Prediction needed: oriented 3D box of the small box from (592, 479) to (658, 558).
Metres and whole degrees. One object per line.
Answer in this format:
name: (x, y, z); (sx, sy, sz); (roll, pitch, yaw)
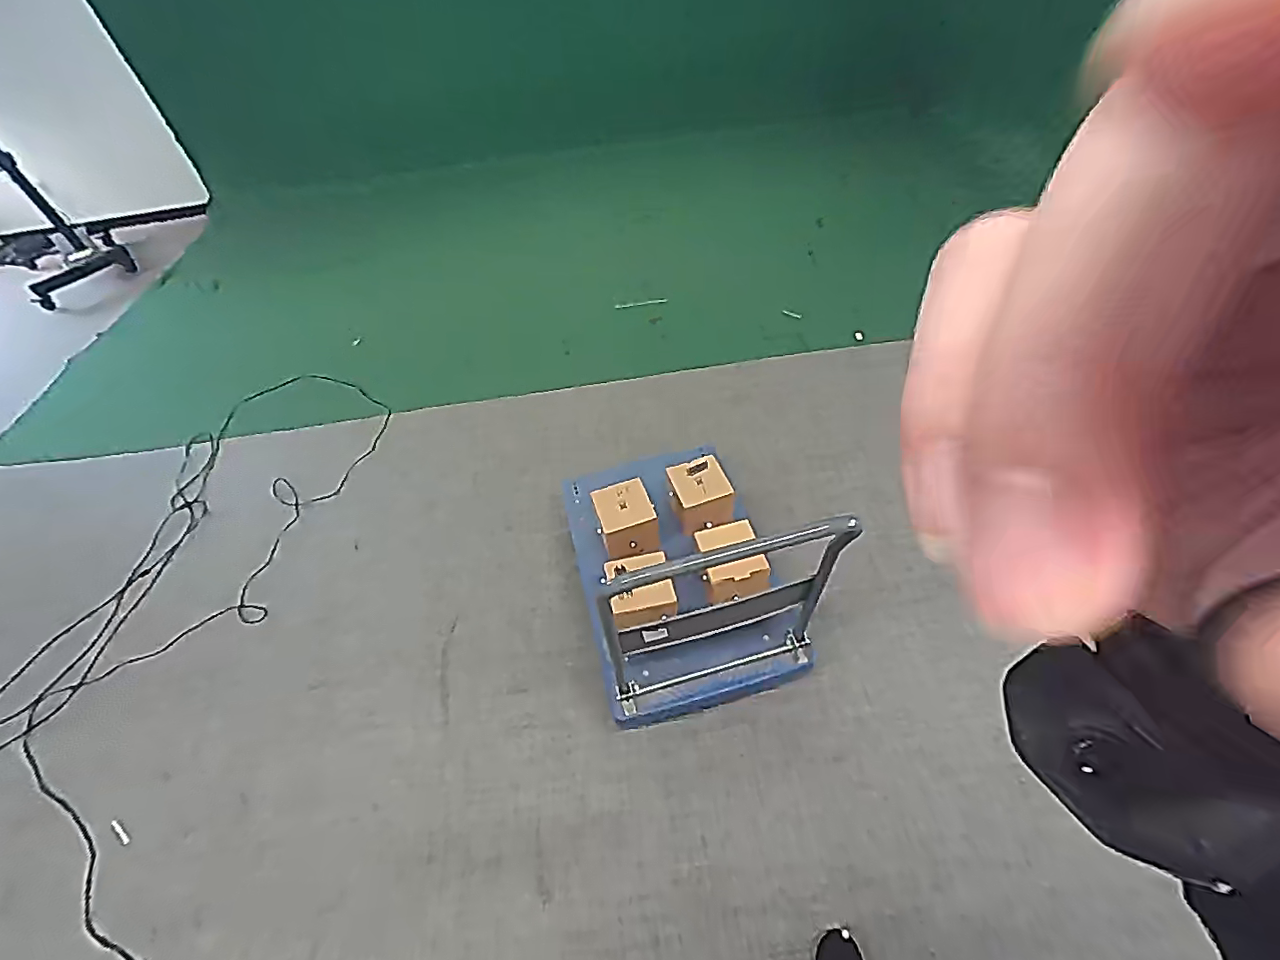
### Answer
small box: (-0.045, 0.131, 1.731); (0.168, 0.176, 0.179); (-17, 49, -9)

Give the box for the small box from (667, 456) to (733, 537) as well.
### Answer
small box: (0.193, 0.056, 1.767); (0.168, 0.176, 0.179); (-18, 51, -7)

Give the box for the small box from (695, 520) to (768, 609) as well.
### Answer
small box: (0.262, 0.251, 1.593); (0.168, 0.176, 0.179); (-14, 50, -5)
